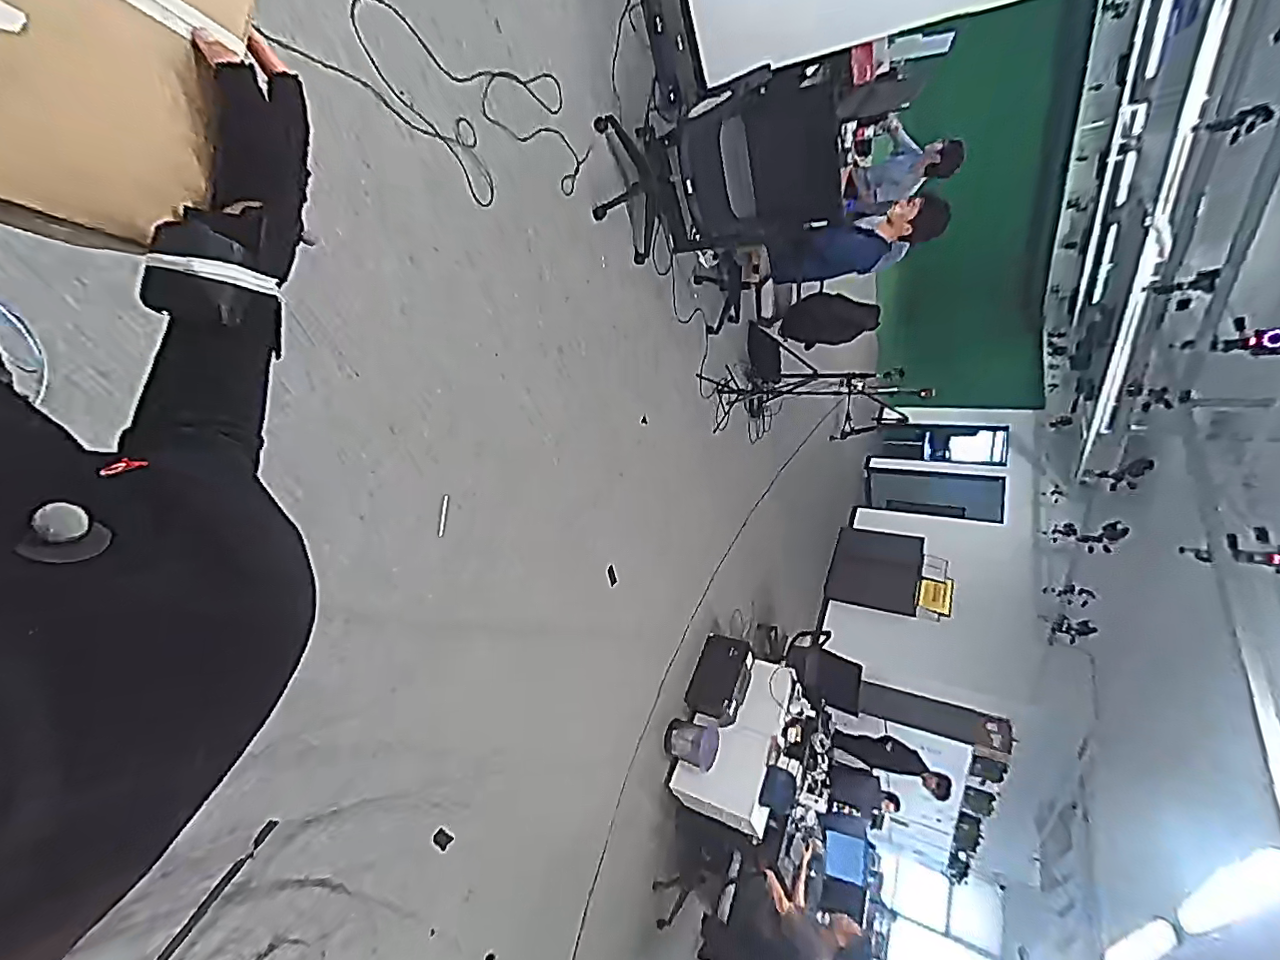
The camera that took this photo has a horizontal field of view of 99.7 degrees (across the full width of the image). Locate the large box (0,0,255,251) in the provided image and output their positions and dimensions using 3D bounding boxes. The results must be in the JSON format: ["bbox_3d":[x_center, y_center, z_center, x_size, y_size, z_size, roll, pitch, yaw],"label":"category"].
[{"bbox_3d":[-0.531,-0.376,0.321,0.408,0.320,0.320,8,100,-60],"label":"large box"}]
